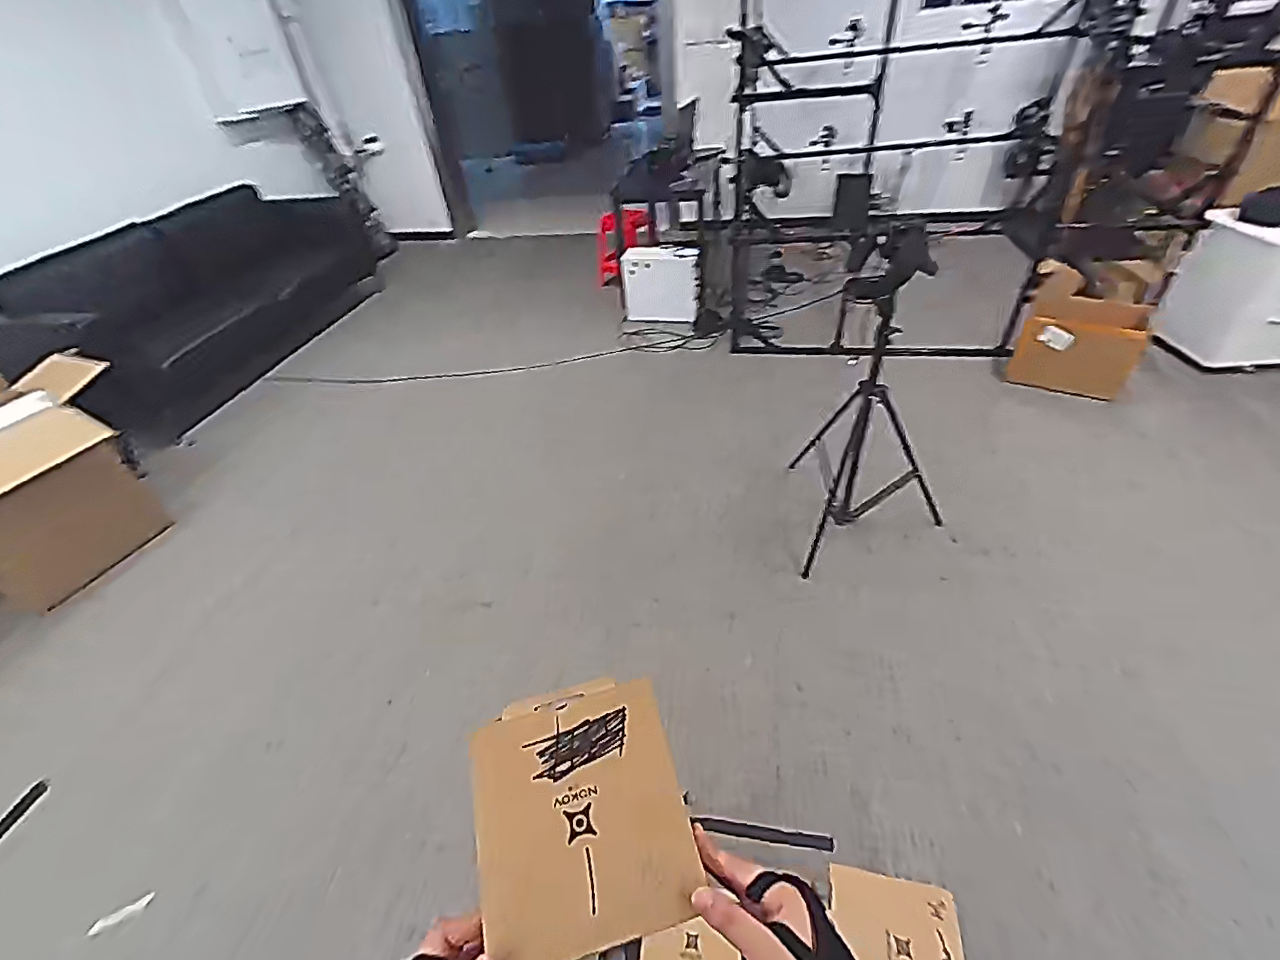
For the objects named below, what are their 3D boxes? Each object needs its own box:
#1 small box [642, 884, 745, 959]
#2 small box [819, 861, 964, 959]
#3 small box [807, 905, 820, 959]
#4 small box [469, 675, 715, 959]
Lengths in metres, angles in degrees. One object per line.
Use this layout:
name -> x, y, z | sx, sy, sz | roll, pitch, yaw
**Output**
small box -> 0.093, 0.825, 0.937 | 0.168, 0.176, 0.179 | 2, 41, 10
small box -> 0.361, 0.701, 0.797 | 0.179, 0.176, 0.168 | 5, 41, 14
small box -> 0.369, 0.837, 0.889 | 0.179, 0.176, 0.168 | 4, 41, 13
small box -> -0.043, 0.307, 0.486 | 0.168, 0.176, 0.179 | -15, 53, -7
